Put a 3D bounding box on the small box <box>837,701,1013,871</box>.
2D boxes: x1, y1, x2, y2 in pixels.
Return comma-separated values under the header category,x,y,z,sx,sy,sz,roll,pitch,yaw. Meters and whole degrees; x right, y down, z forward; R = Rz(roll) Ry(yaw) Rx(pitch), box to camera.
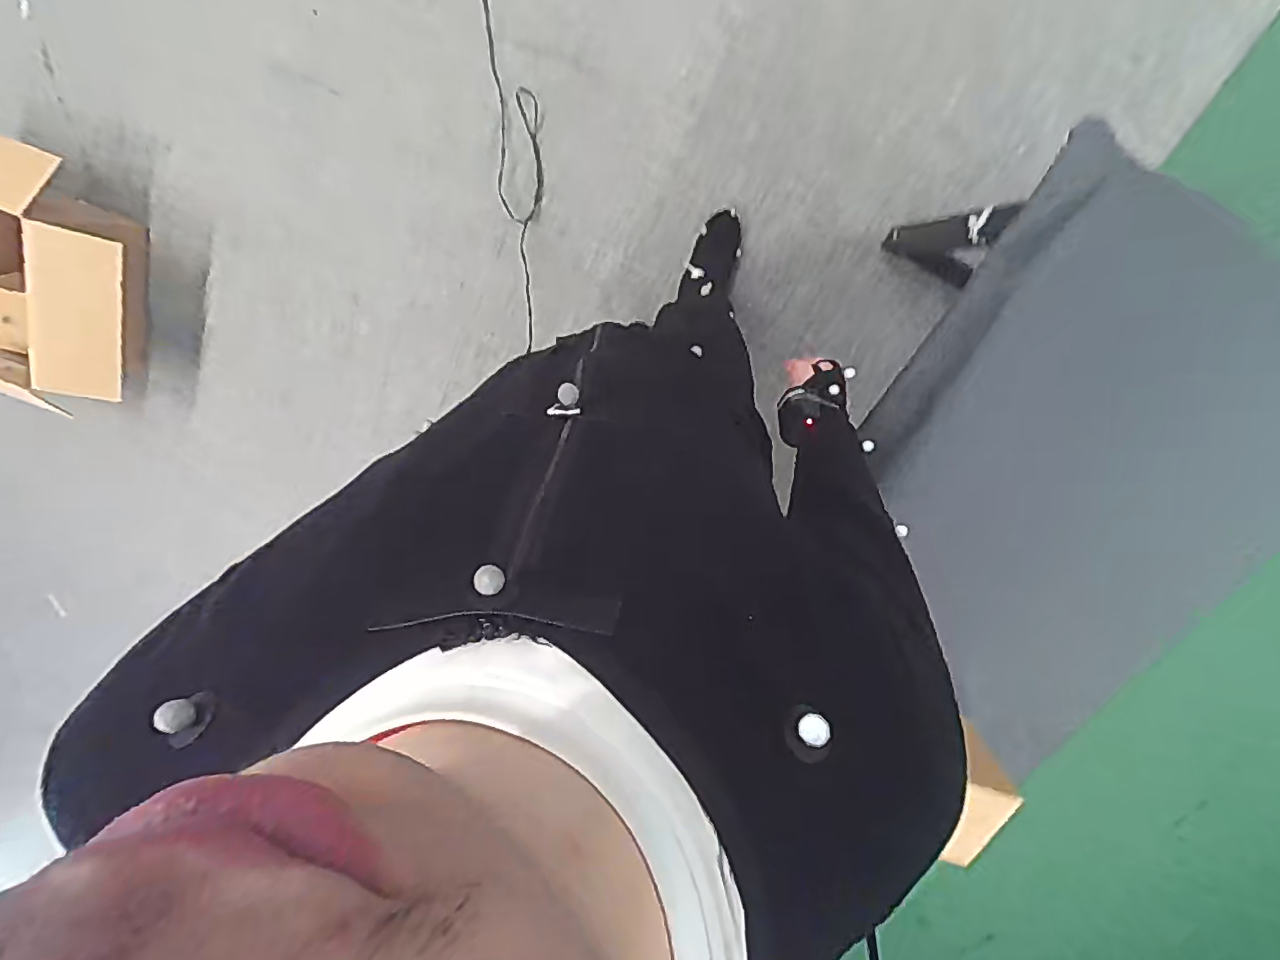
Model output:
category,x,y,z,sx,sy,sz,roll,pitch,yaw
small box,0.466,0.509,0.919,0.179,0.176,0.168,19,111,-6
